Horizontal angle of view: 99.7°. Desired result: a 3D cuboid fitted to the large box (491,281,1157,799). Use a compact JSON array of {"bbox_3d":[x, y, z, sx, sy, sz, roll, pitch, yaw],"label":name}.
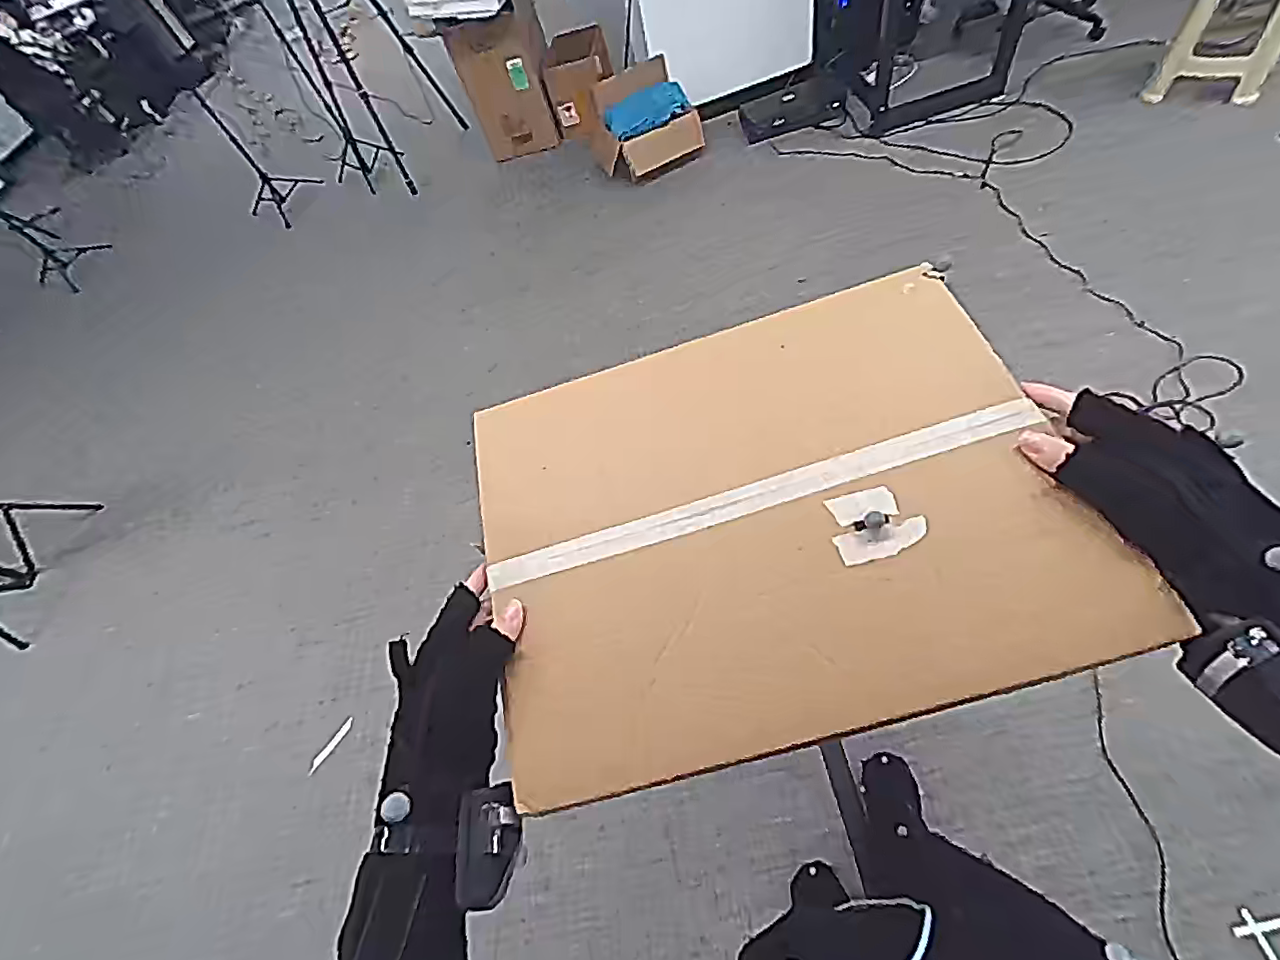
[{"bbox_3d":[0.116,0.082,0.534,0.408,0.320,0.320,-17,62,4],"label":"large box"}]
